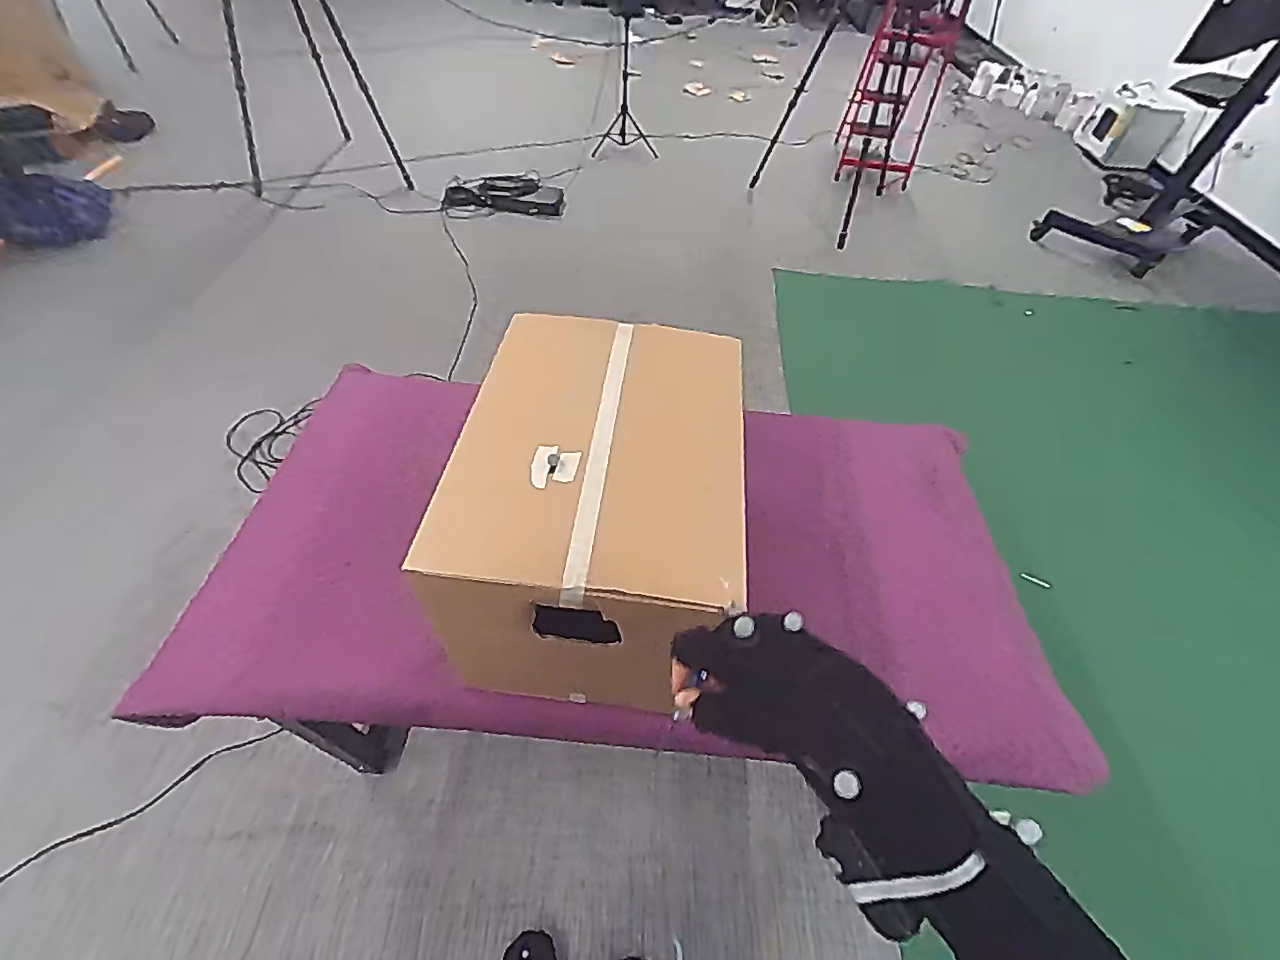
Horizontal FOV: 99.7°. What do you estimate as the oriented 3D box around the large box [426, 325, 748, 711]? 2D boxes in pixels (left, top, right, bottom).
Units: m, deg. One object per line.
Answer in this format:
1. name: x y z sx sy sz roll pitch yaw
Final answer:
1. large box: -0.044 0.050 0.741 0.320 0.320 0.408 7 51 1
